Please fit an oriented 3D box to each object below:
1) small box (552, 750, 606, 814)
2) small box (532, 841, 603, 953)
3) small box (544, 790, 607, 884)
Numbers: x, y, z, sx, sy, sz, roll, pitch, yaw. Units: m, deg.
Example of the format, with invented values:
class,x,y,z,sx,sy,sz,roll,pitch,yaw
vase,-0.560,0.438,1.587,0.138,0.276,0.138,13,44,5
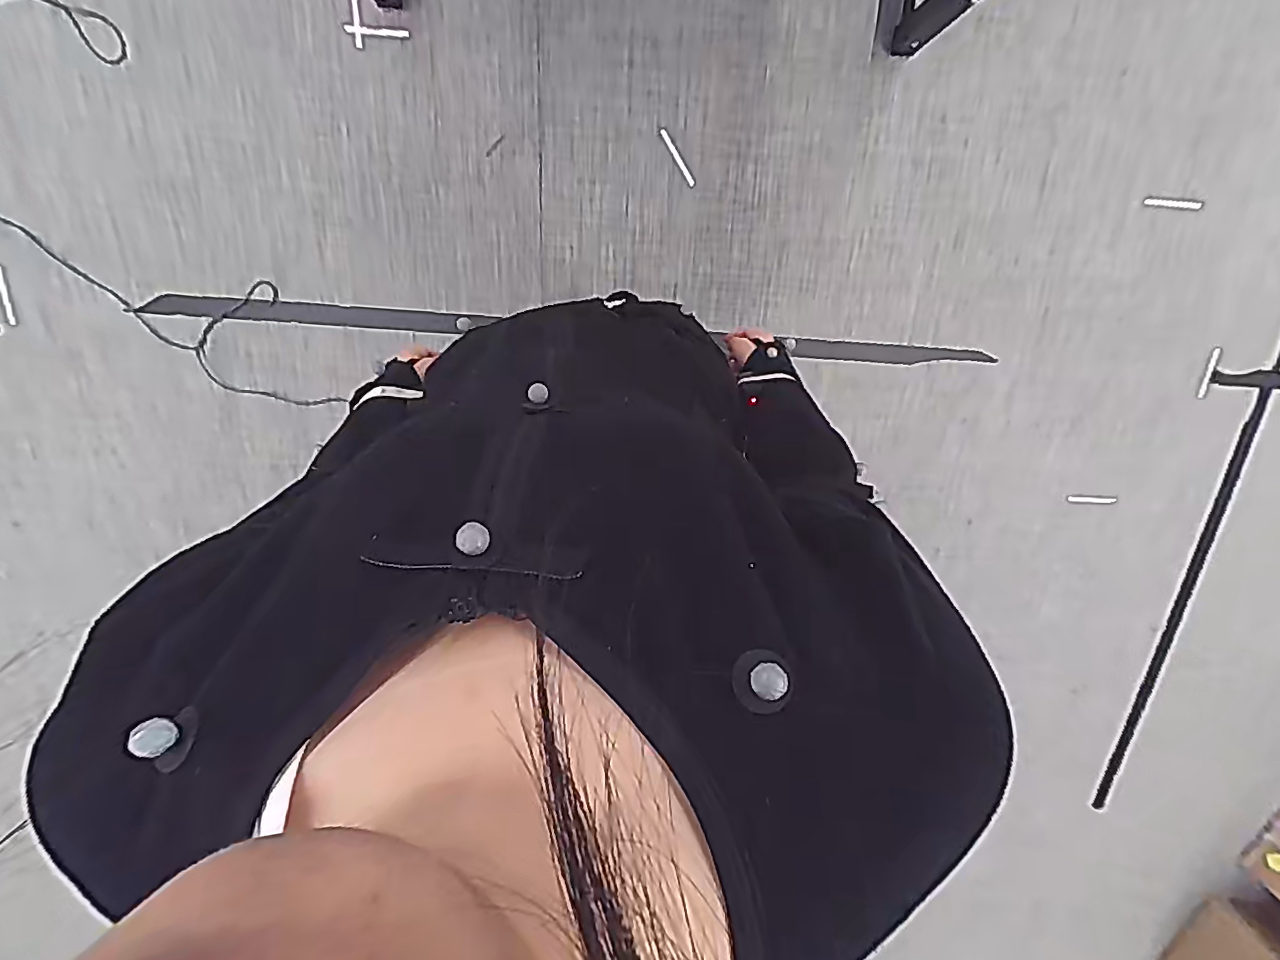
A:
class,x,y,z,sx,sy,sz,roll,pitch,yaw
small box,-0.193,0.994,1.742,0.168,0.176,0.179,-2,108,-3
small box,-0.185,1.098,1.430,0.168,0.176,0.179,-3,107,-2
small box,-0.184,1.048,1.587,0.168,0.176,0.179,-3,109,-2
